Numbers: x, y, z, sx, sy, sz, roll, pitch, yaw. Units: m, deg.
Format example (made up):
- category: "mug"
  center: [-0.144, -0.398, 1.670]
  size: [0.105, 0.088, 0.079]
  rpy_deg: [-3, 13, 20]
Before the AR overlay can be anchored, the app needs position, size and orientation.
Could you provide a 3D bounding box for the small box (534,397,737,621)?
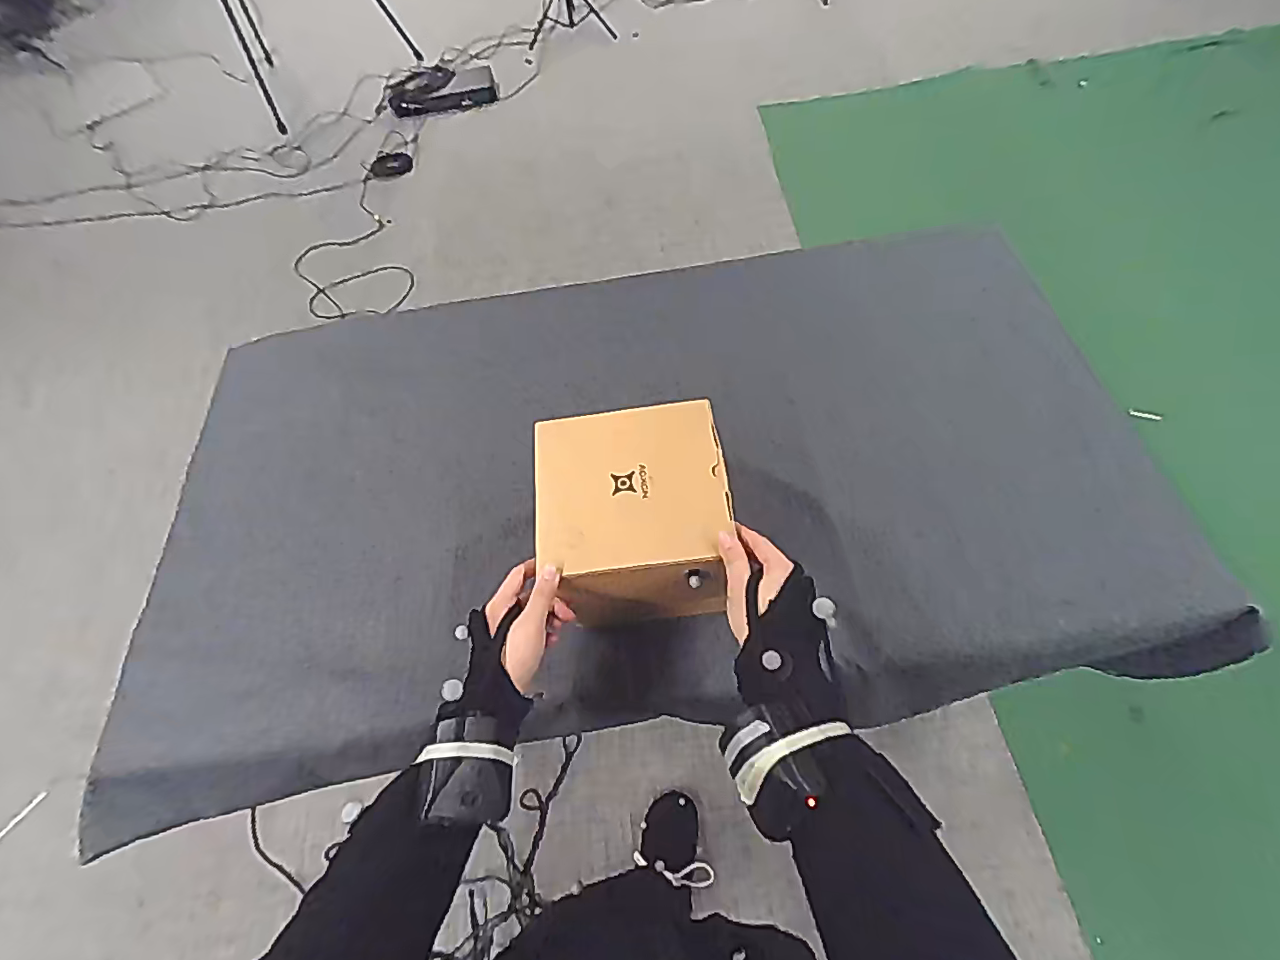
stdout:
- category: "small box"
  center: [-0.002, 0.039, 0.562]
  size: [0.179, 0.176, 0.168]
  rpy_deg: [-8, 61, 1]
